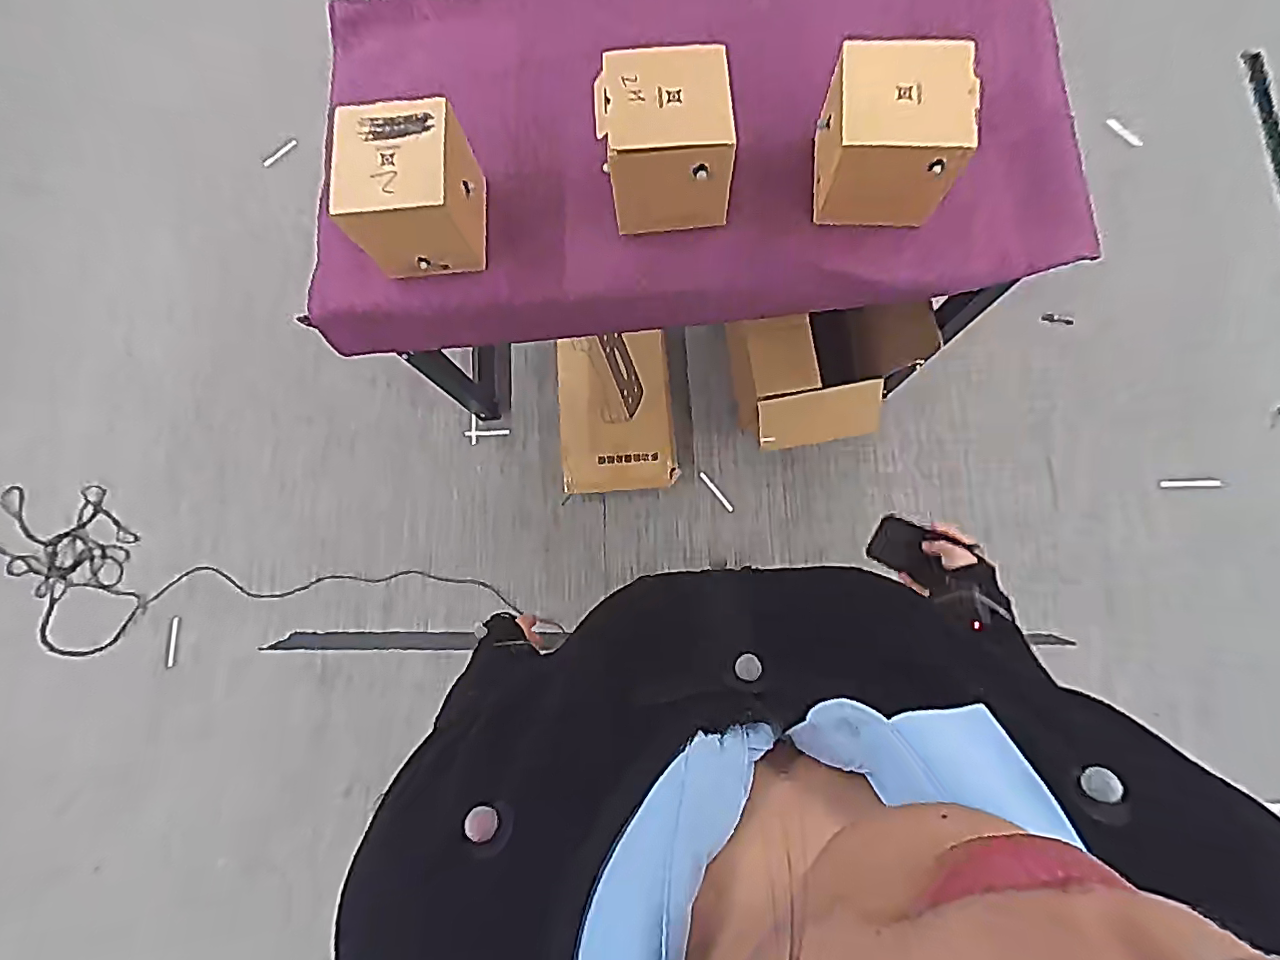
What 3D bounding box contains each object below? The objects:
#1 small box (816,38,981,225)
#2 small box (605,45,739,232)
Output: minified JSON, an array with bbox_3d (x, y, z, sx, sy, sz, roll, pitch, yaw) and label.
[{"bbox_3d":[0.363,-0.500,0.794,0.179,0.176,0.168,3,80,4],"label":"small box"},{"bbox_3d":[0.045,-0.502,0.815,0.179,0.176,0.168,-4,77,3],"label":"small box"}]
